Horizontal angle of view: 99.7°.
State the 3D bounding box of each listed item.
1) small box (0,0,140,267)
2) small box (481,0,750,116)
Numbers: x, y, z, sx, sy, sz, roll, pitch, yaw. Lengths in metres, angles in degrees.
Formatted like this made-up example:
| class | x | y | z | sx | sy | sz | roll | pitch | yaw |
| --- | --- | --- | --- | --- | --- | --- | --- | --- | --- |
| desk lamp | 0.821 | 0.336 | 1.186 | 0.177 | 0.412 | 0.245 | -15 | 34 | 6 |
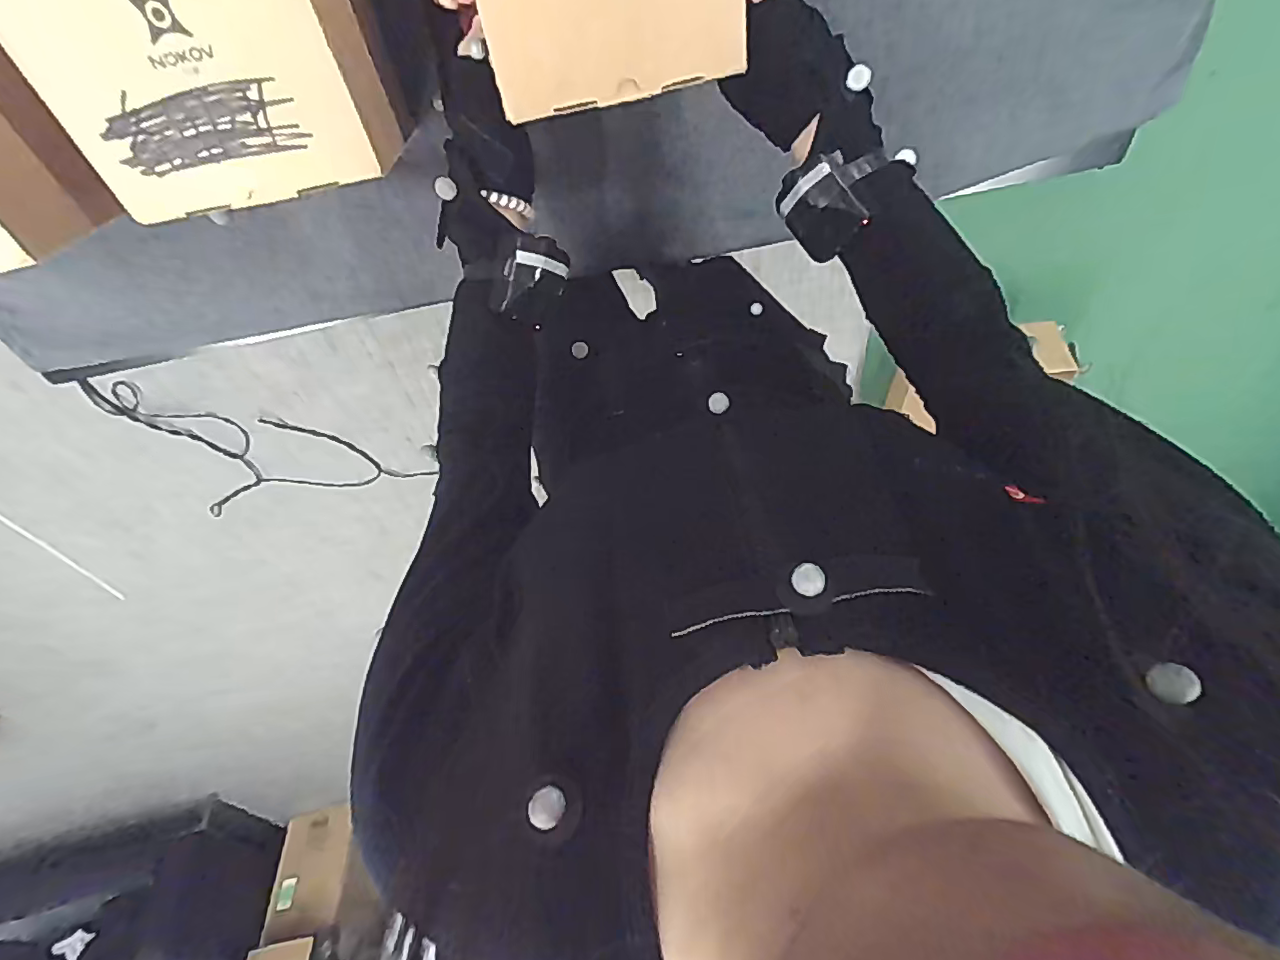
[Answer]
| class | x | y | z | sx | sy | sz | roll | pitch | yaw |
| --- | --- | --- | --- | --- | --- | --- | --- | --- | --- |
| small box | -0.503 | -0.238 | 0.352 | 0.168 | 0.176 | 0.179 | -15 | 133 | -2 |
| small box | -0.034 | -0.372 | 0.356 | 0.168 | 0.176 | 0.179 | -14 | 135 | -2 |
